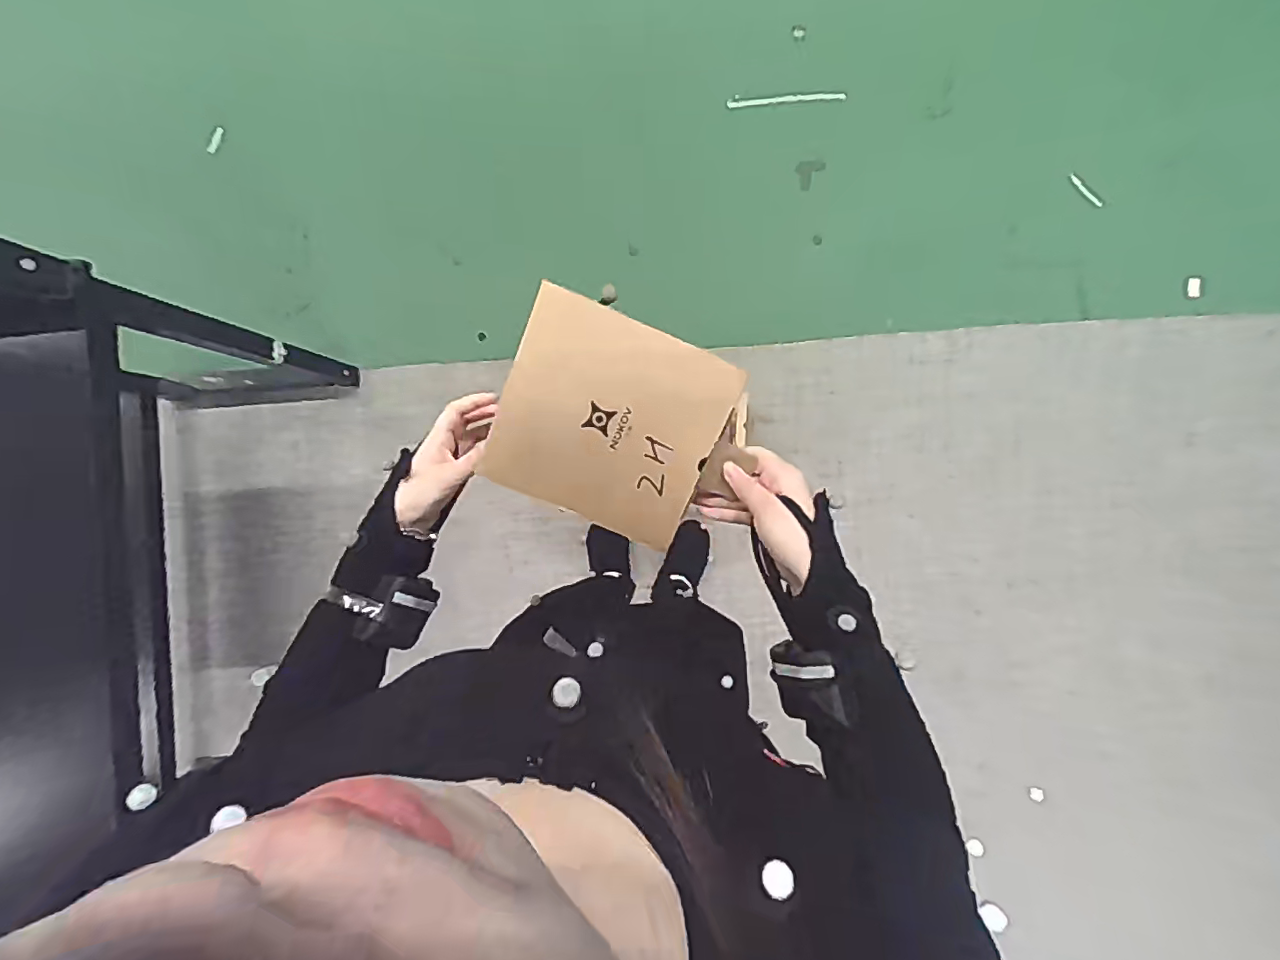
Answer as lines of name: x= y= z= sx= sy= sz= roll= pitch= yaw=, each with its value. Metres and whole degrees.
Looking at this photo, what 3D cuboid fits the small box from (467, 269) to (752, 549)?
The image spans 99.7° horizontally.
small box: x=-0.025 y=-0.067 z=0.490 sx=0.179 sy=0.176 sz=0.168 roll=23 pitch=105 yaw=-5
